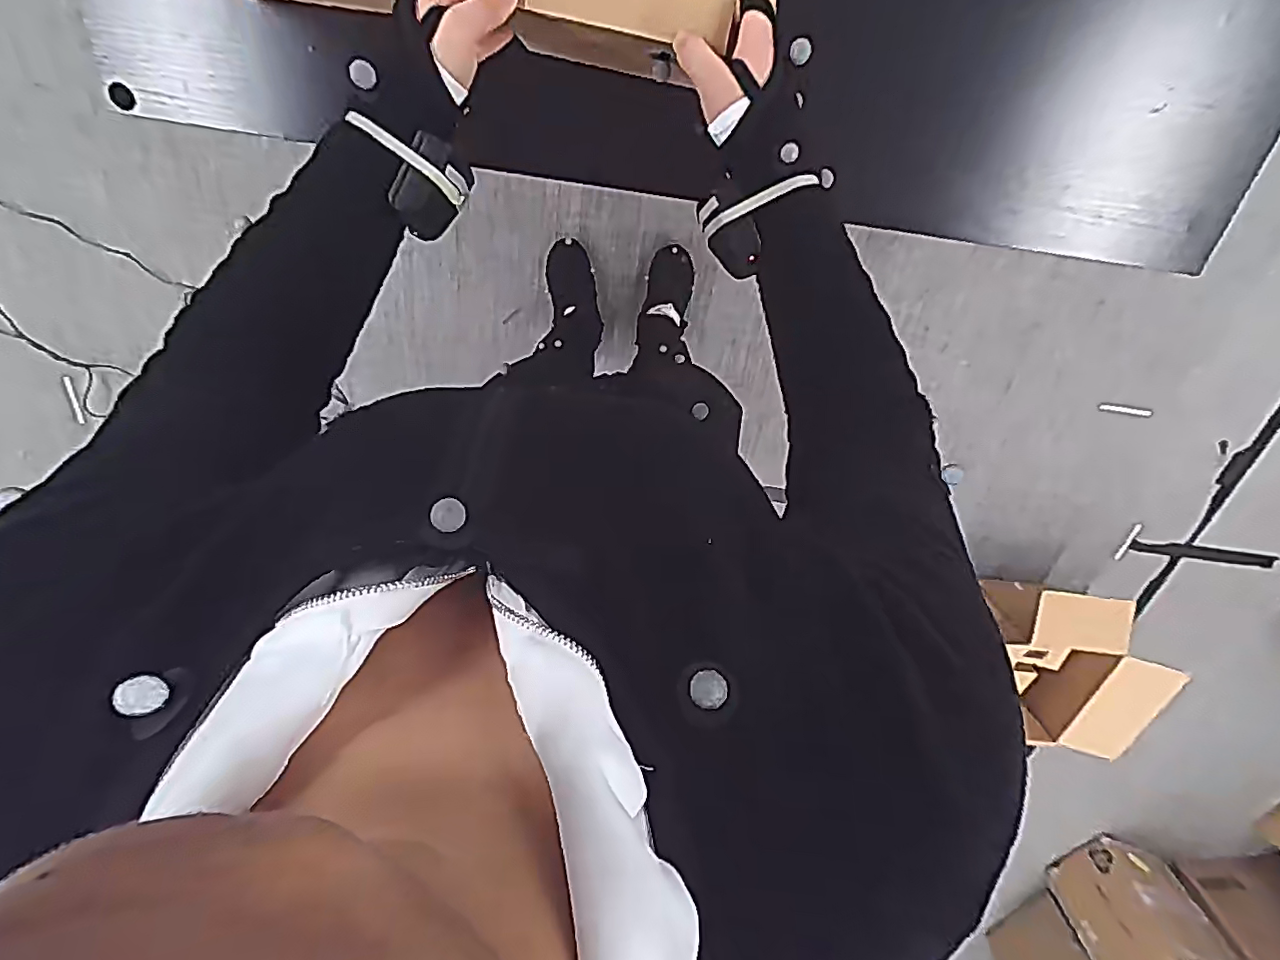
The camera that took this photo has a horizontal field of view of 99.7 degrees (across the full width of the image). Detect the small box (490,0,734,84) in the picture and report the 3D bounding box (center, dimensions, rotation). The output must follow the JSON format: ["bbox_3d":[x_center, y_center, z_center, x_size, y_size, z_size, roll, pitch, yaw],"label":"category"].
[{"bbox_3d":[-0.010,-0.438,0.430,0.179,0.176,0.168,9,118,-6],"label":"small box"}]

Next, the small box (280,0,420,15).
[{"bbox_3d":[-0.283,-0.481,0.405,0.179,0.176,0.168,5,119,-3],"label":"small box"}]
